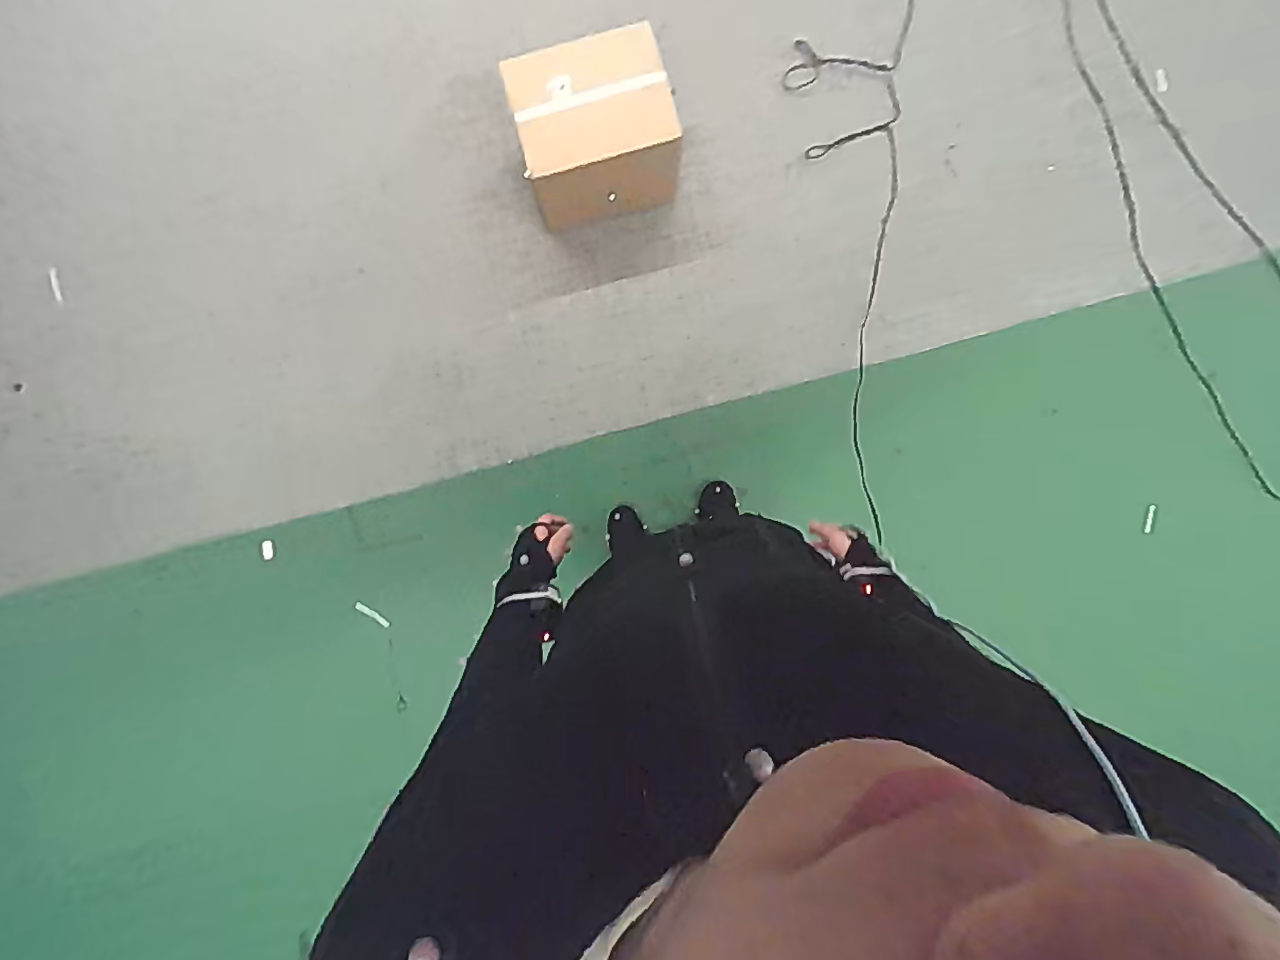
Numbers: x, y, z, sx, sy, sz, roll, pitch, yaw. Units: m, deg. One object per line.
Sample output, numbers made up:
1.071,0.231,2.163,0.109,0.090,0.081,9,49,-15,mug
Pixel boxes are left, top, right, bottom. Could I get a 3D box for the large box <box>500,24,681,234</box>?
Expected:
-0.123,-0.960,1.527,0.408,0.320,0.320,-17,89,1,large box
